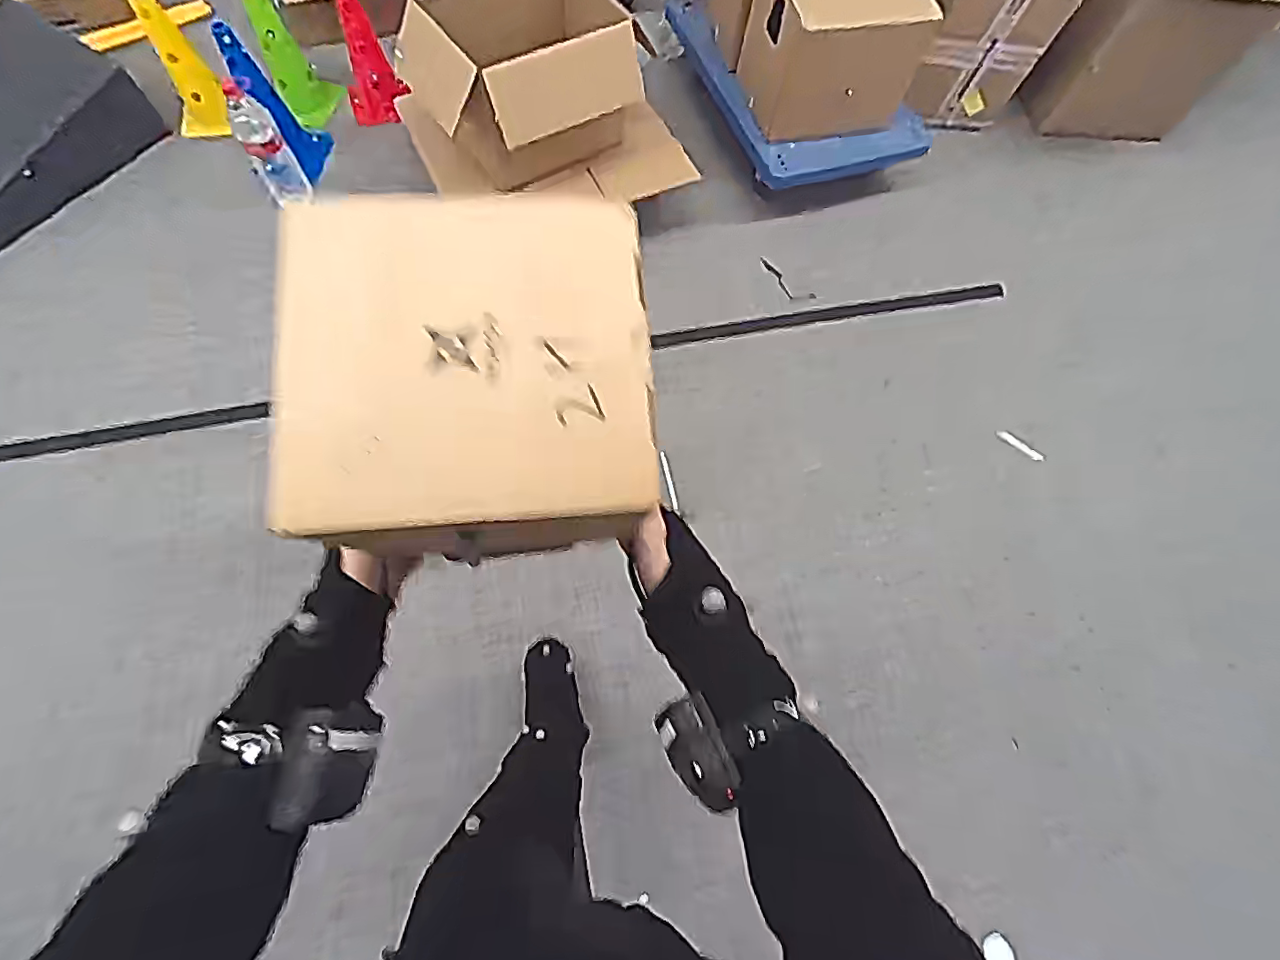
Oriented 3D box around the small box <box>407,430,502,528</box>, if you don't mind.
[{"bbox_3d":[-0.430,0.004,1.261,0.179,0.176,0.168,-10,71,-9],"label":"small box"}]
